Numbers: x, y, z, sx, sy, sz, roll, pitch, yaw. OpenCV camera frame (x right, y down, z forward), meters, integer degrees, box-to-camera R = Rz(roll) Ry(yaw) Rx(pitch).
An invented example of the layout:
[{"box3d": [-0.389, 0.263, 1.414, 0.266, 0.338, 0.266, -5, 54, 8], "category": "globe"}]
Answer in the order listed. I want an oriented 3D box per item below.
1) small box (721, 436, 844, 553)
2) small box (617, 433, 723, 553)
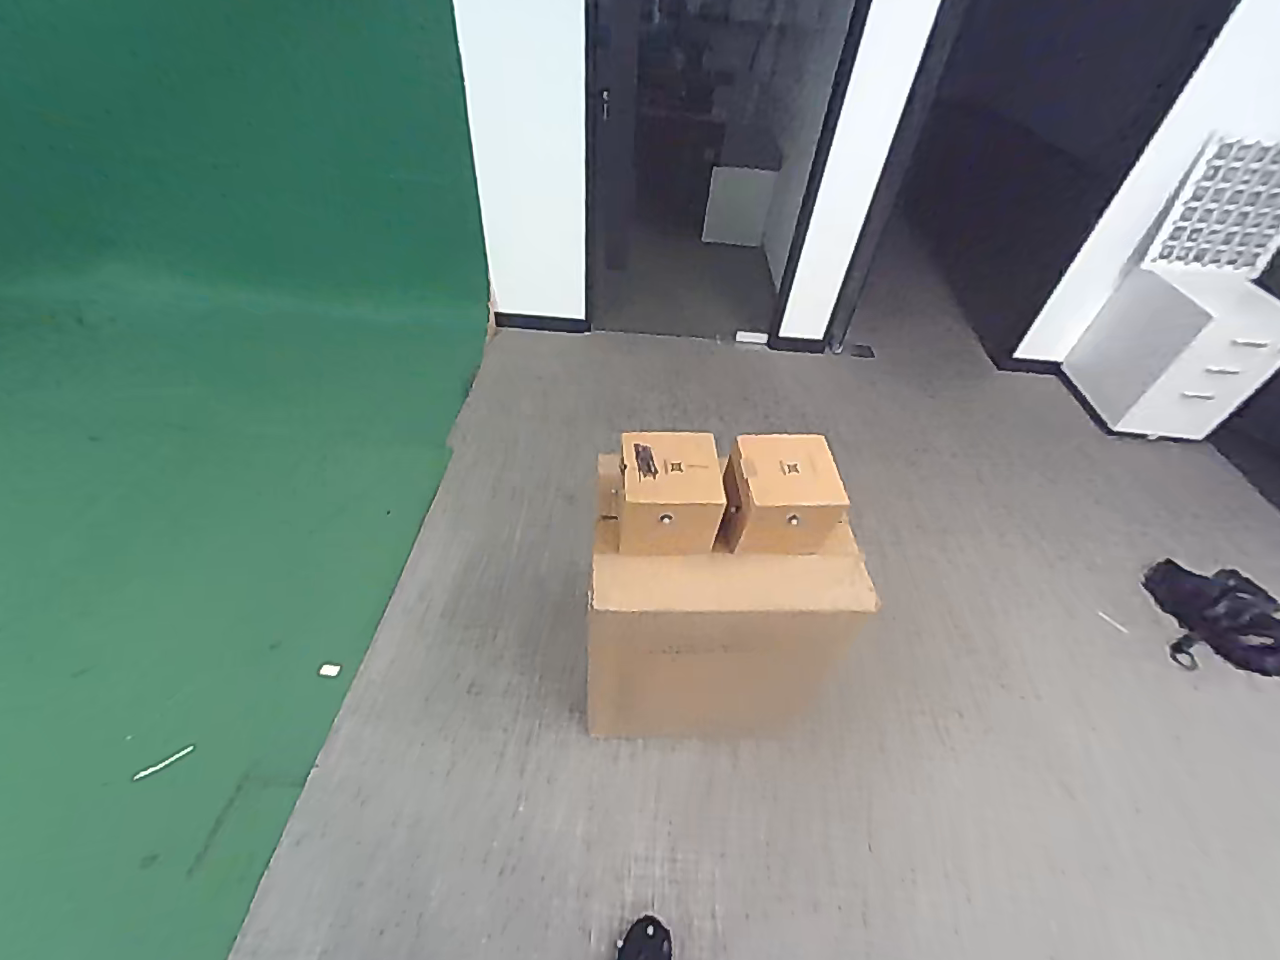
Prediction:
[{"box3d": [0.259, 0.031, 1.044, 0.179, 0.176, 0.168, 0, 52, -8], "category": "small box"}, {"box3d": [0.046, 0.028, 1.022, 0.179, 0.176, 0.168, 1, 51, -6], "category": "small box"}]
